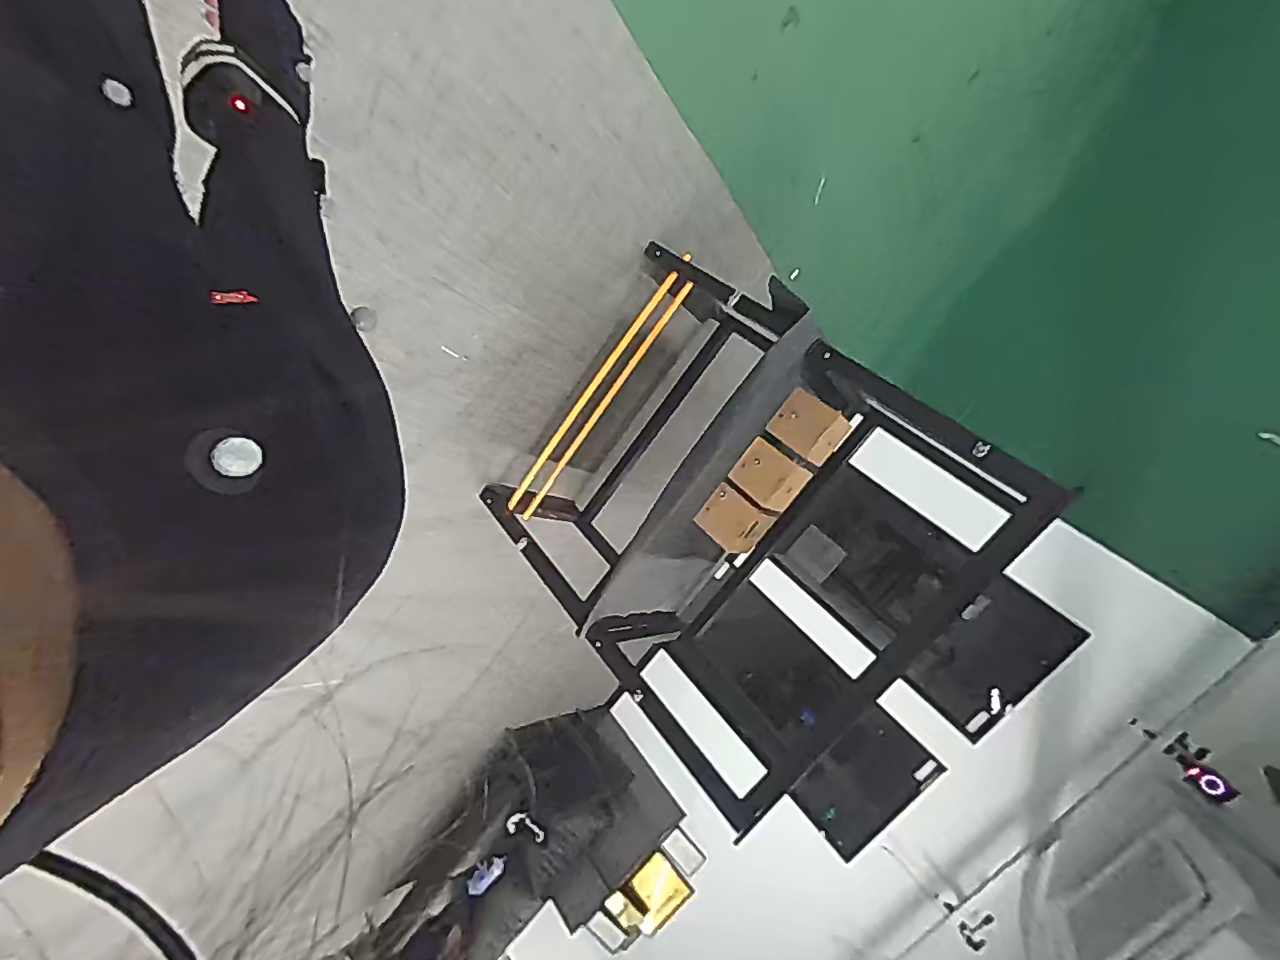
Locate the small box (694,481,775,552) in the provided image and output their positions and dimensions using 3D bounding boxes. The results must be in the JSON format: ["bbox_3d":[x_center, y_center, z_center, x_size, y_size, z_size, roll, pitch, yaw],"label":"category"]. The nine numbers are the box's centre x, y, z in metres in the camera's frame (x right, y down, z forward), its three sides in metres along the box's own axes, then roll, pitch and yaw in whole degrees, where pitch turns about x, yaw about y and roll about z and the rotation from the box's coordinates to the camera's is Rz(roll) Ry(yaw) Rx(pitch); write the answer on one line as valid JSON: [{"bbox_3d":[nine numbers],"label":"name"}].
[{"bbox_3d":[0.310,0.119,1.793,0.168,0.176,0.179,-53,150,14],"label":"small box"}]

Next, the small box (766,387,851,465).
[{"bbox_3d":[0.530,-0.171,1.706,0.168,0.176,0.179,-54,149,14],"label":"small box"}]
